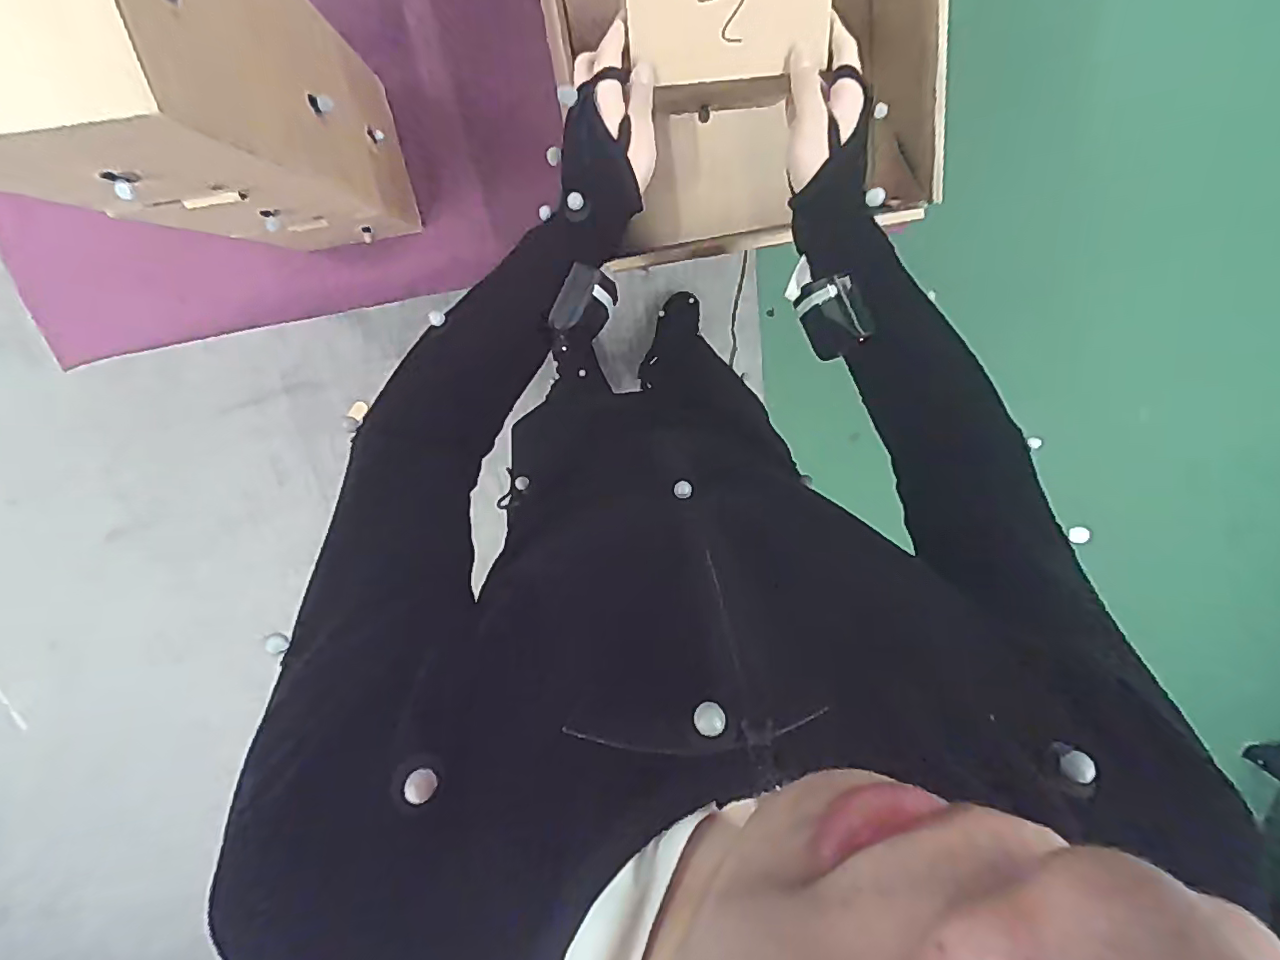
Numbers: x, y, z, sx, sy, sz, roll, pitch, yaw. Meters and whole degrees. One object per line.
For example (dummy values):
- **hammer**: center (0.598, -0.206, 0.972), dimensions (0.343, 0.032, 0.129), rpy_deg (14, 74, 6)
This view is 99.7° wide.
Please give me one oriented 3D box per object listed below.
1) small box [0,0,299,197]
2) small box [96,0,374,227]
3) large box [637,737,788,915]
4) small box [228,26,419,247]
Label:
- **small box**: center (-0.343, -0.279, 0.319), dimensions (0.168, 0.176, 0.179), rpy_deg (-9, 108, -4)
- **small box**: center (-0.363, -0.330, 0.476), dimensions (0.168, 0.176, 0.179), rpy_deg (-11, 109, -3)
- **large box**: center (0.244, 1.233, 1.946), dimensions (0.408, 0.320, 0.320), rpy_deg (-41, 109, 8)
- **small box**: center (-0.379, -0.378, 0.631), dimensions (0.168, 0.176, 0.179), rpy_deg (-10, 108, -3)
